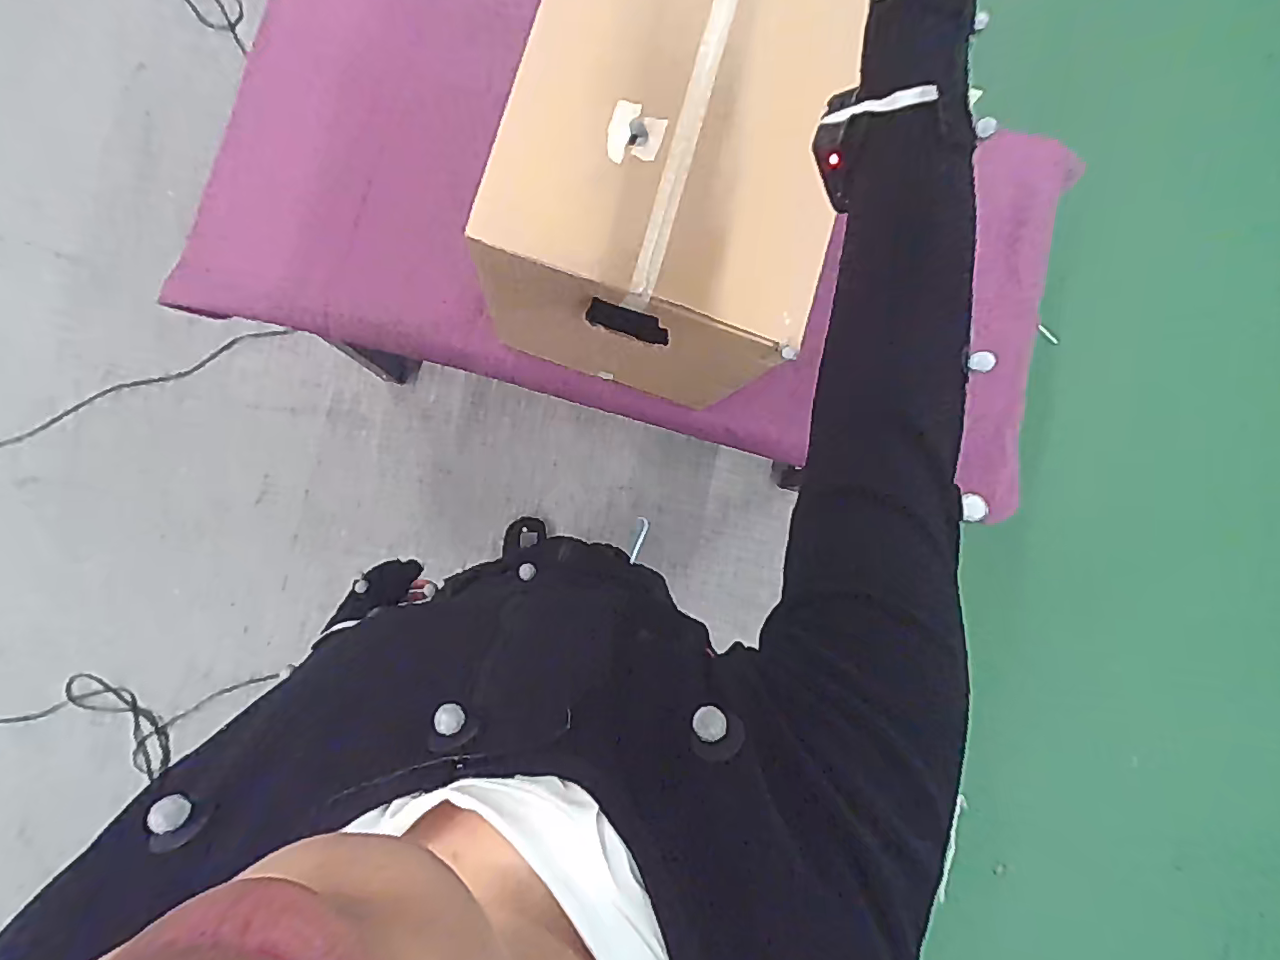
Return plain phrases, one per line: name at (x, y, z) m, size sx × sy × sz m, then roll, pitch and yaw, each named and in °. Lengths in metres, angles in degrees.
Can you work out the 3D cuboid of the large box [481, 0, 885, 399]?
large box at (0.030, -0.354, 0.656) m, size 0.320 × 0.320 × 0.408 m, roll 17°, pitch 86°, yaw -8°
